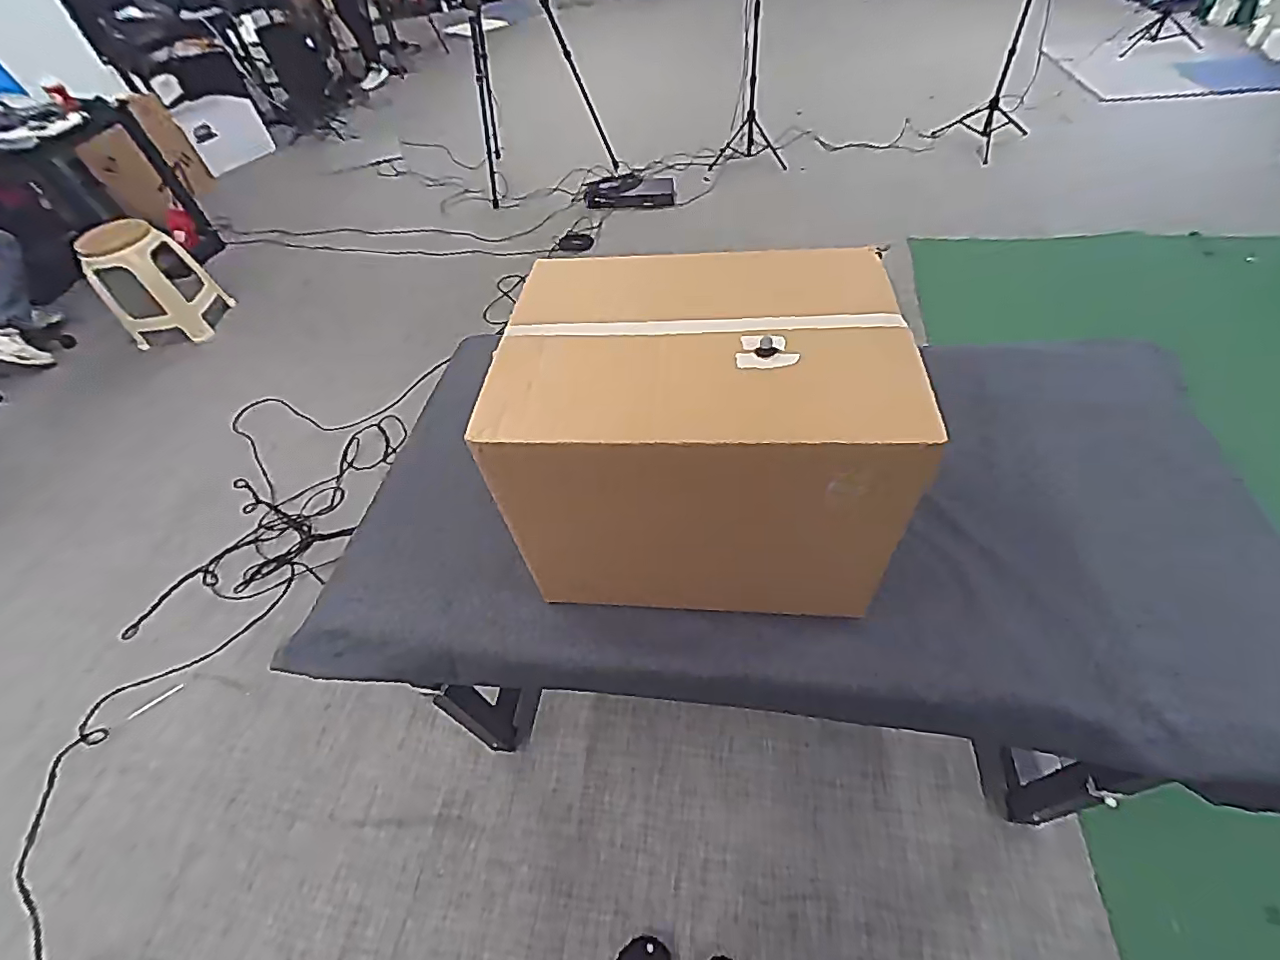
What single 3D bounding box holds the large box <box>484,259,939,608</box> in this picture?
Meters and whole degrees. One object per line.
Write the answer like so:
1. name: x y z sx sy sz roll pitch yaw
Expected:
1. large box: 0.073 -0.052 0.674 0.408 0.320 0.320 1 51 6
